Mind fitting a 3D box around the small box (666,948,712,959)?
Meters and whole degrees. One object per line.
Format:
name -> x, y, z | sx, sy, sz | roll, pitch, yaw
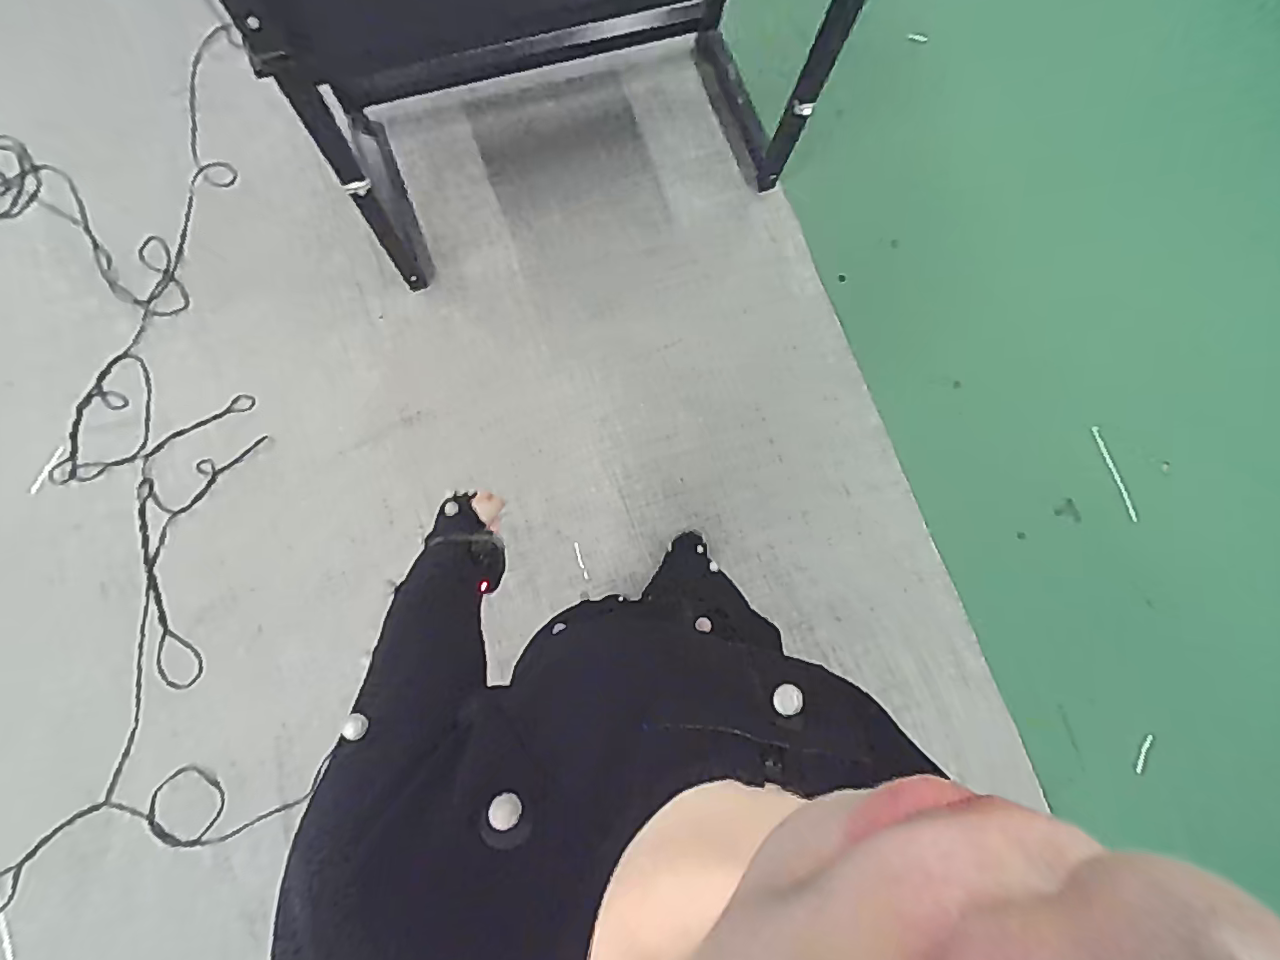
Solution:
small box -> 0.125, 1.274, 1.276 | 0.168, 0.176, 0.179 | -13, 82, -8
